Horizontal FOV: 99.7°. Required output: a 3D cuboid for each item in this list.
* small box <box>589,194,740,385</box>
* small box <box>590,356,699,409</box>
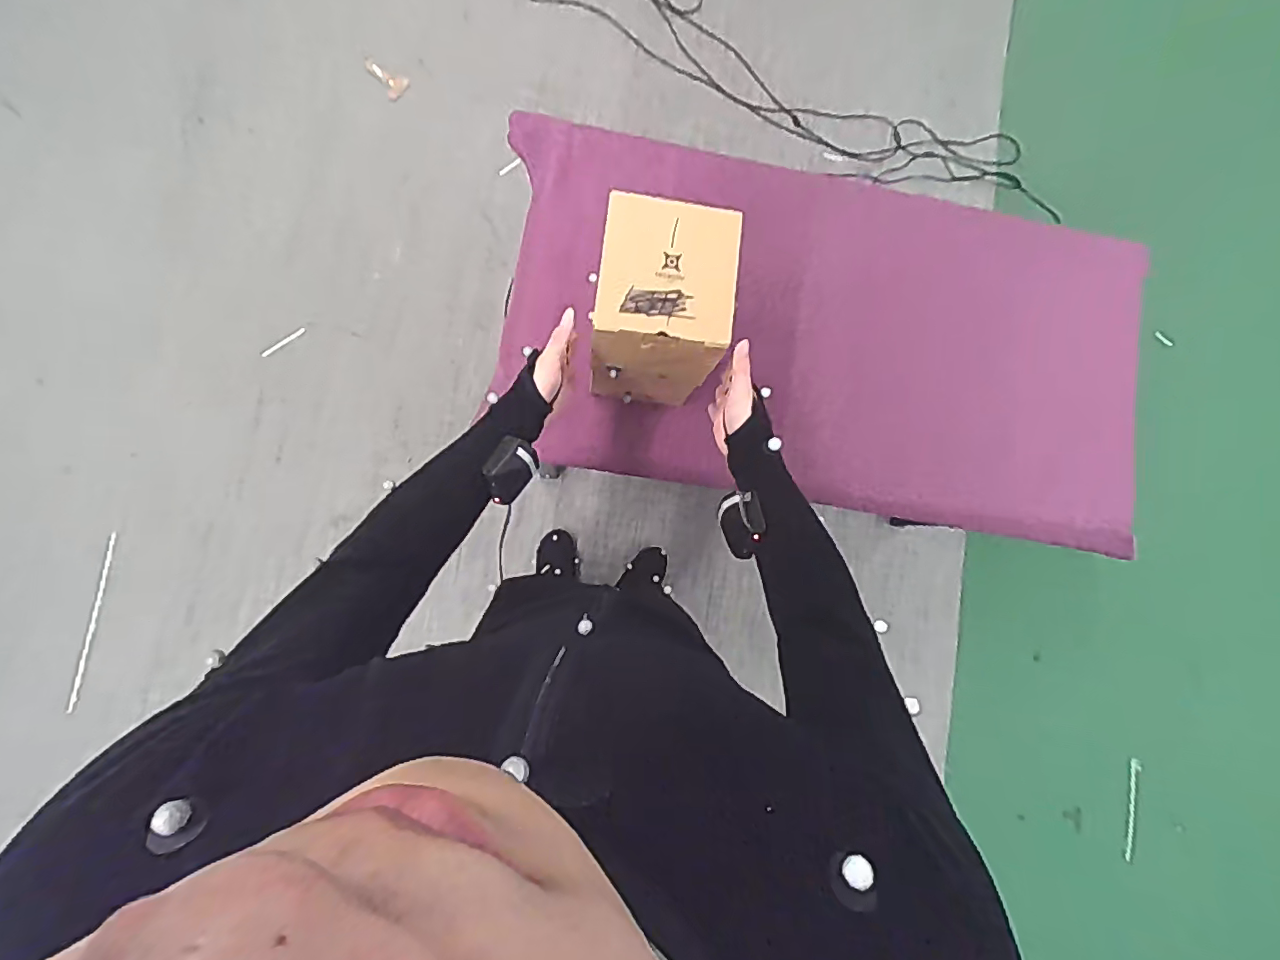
[{"bbox_3d":[0.025,-0.238,0.721,0.168,0.176,0.179,7,82,-5],"label":"small box"},{"bbox_3d":[0.009,-0.229,0.884,0.168,0.176,0.179,7,84,-5],"label":"small box"}]
